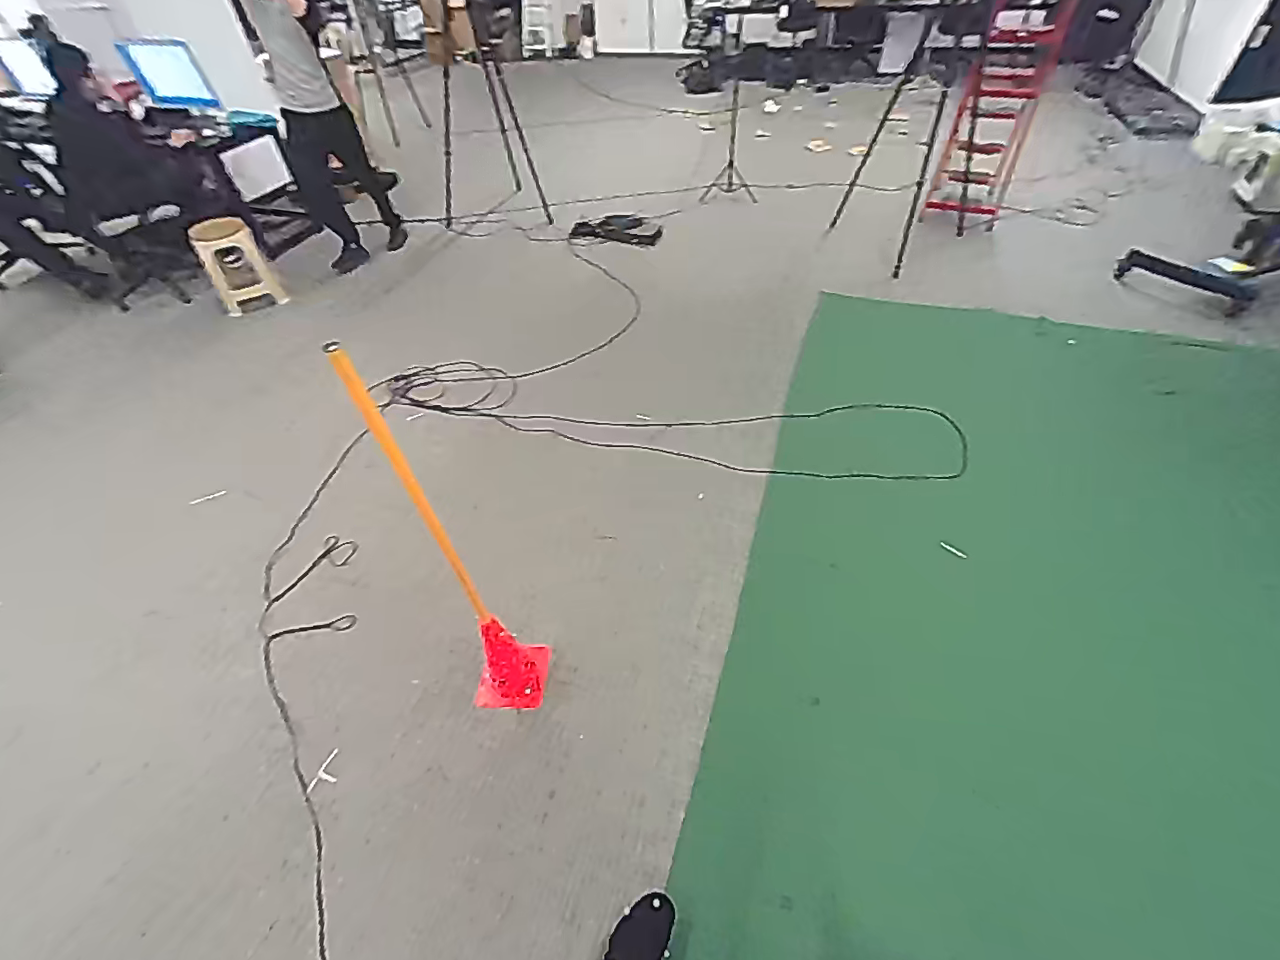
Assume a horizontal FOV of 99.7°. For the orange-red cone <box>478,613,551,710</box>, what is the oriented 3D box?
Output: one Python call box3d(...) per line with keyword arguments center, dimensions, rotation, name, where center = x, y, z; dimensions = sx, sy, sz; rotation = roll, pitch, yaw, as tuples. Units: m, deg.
box3d(center=(-0.392, 0.485, 1.546), dimensions=(0.198, 0.360, 0.199), rotation=(2, 45, 5), name="orange-red cone")
